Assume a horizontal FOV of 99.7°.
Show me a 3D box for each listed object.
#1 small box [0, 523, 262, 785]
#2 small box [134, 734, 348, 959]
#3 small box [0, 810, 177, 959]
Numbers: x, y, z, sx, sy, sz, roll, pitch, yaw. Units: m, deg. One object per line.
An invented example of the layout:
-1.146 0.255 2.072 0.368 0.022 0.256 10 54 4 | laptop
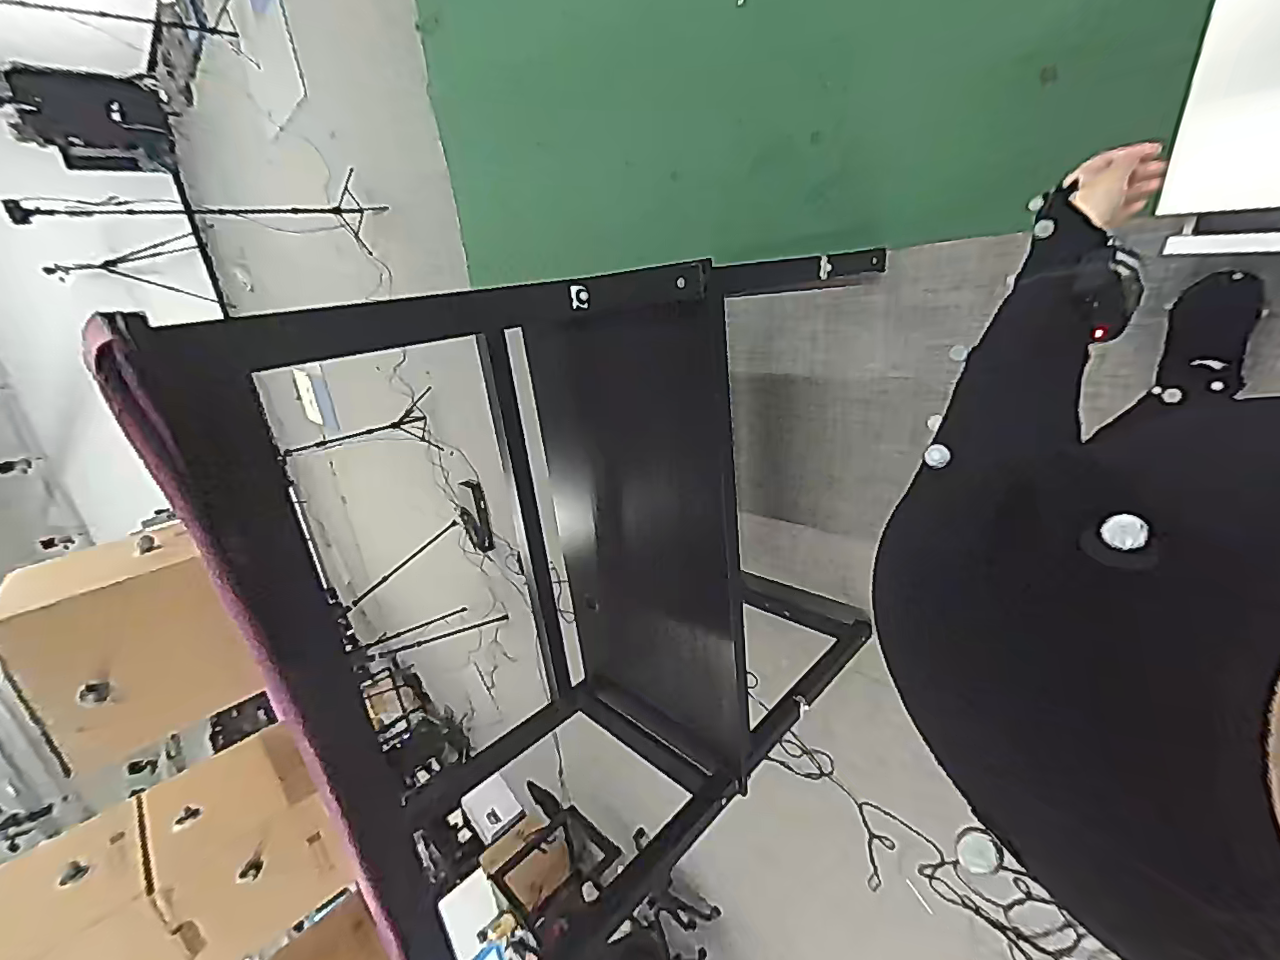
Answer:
-0.538 0.169 0.584 0.168 0.176 0.179 14 118 47 | small box
-0.493 0.462 0.682 0.179 0.176 0.168 15 118 45 | small box
-0.611 0.512 0.578 0.168 0.176 0.179 15 118 43 | small box
